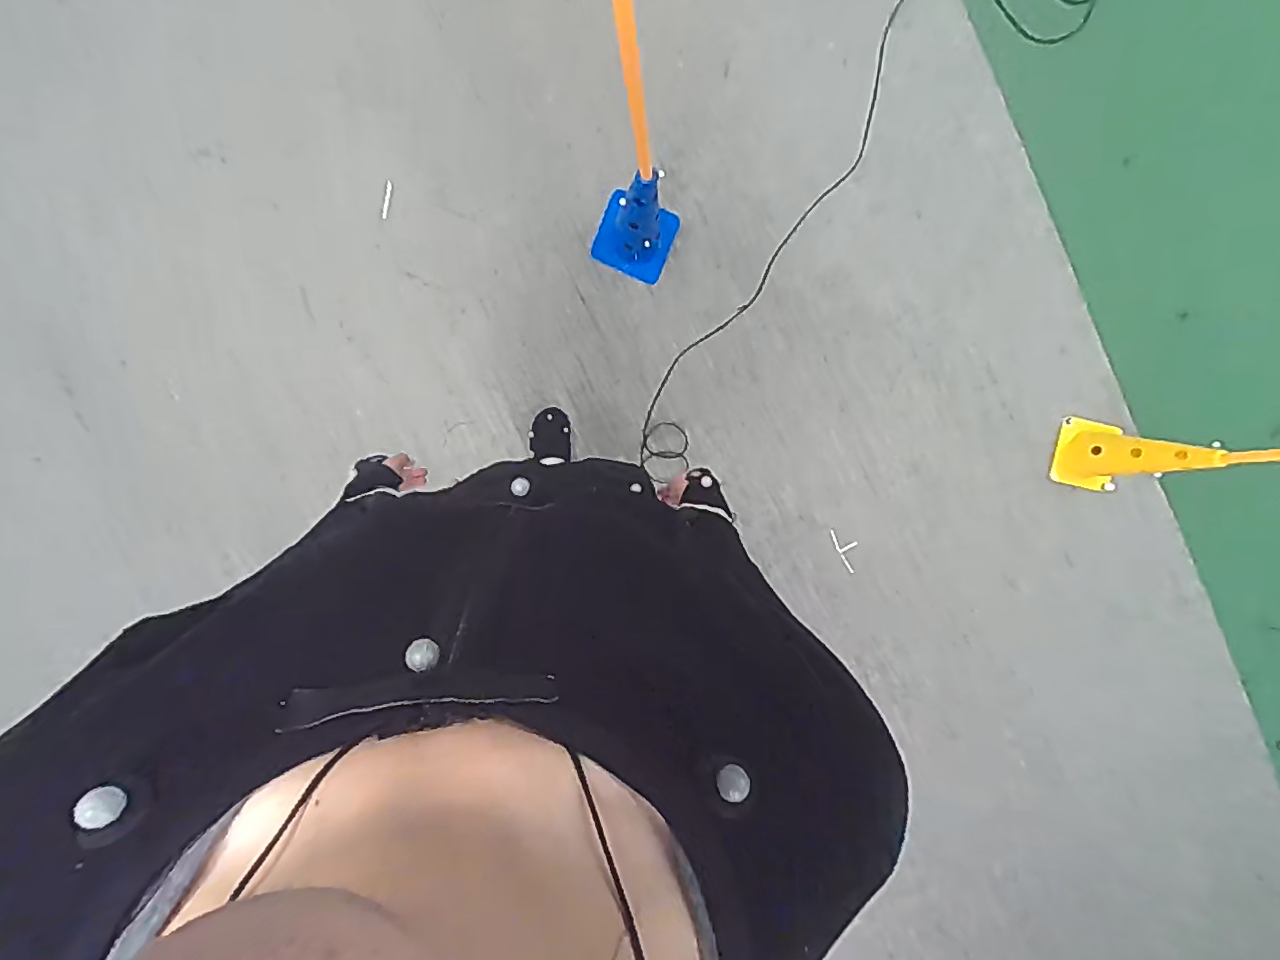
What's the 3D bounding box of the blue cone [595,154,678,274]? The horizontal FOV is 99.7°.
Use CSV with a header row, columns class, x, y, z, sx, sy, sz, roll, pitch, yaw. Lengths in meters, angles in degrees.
class,x,y,z,sx,sy,sz,roll,pitch,yaw
blue cone,0.001,-0.642,1.270,0.193,0.380,0.192,21,93,-5
